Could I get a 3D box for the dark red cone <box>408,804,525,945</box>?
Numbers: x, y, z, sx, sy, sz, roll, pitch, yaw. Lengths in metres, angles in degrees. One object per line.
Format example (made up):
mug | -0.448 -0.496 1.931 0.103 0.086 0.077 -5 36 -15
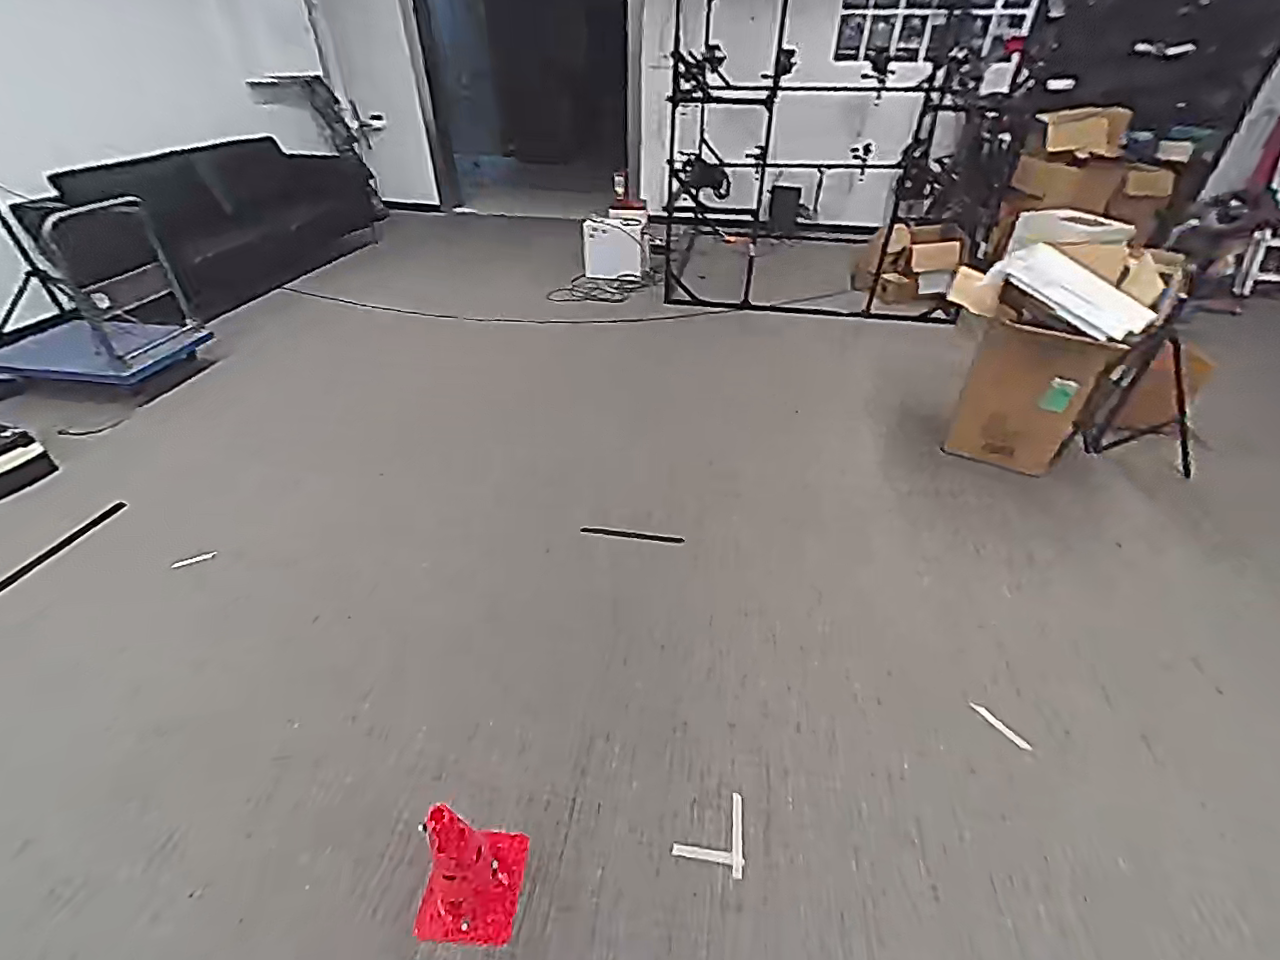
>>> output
dark red cone | -0.349 0.706 1.019 0.202 0.394 0.201 2 39 2
